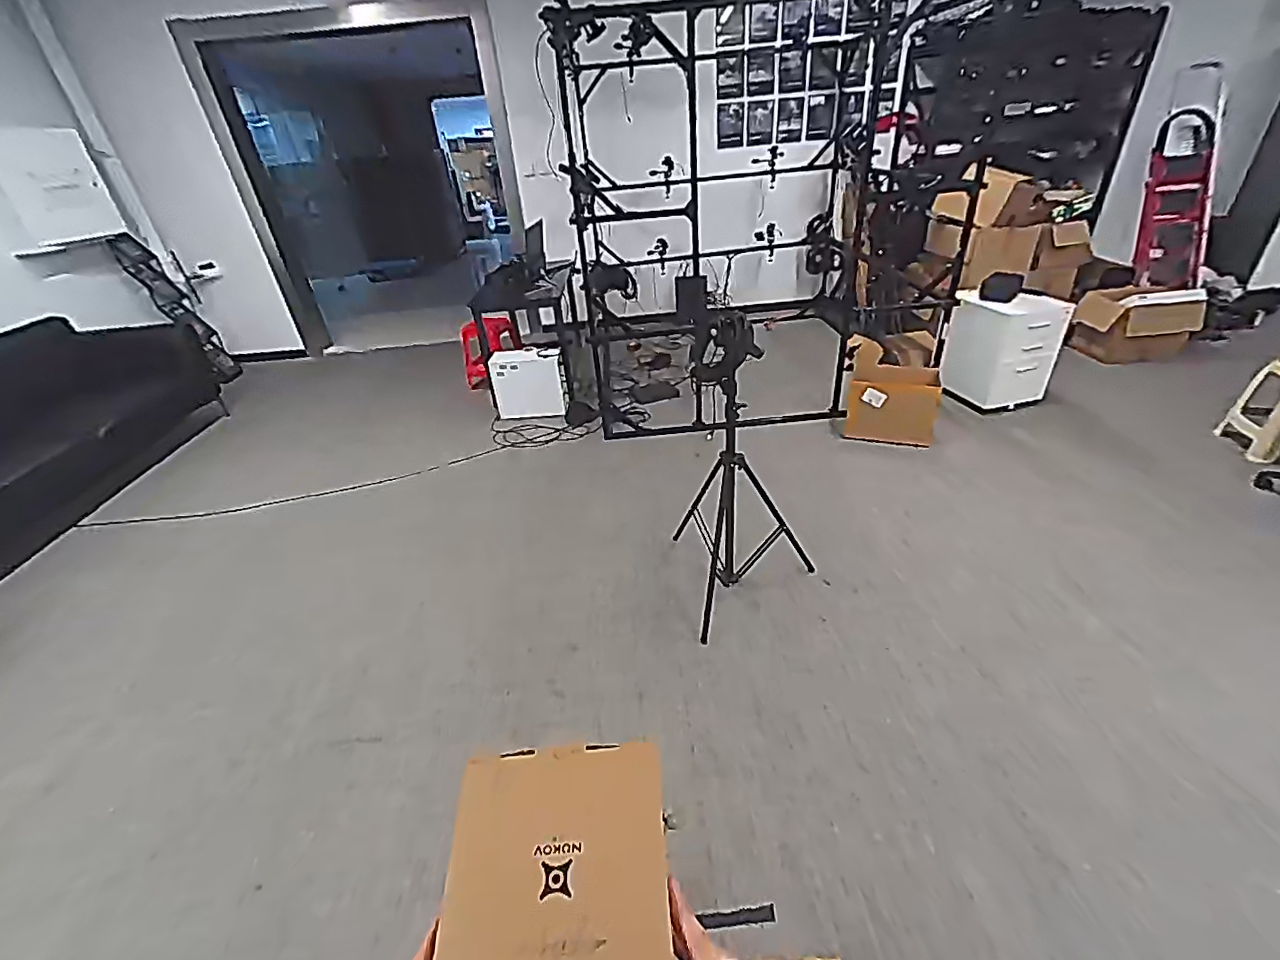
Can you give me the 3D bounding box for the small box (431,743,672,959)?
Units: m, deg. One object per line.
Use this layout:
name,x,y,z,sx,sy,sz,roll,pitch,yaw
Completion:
small box,-0.061,0.347,0.456,0.168,0.176,0.179,-4,45,-1
